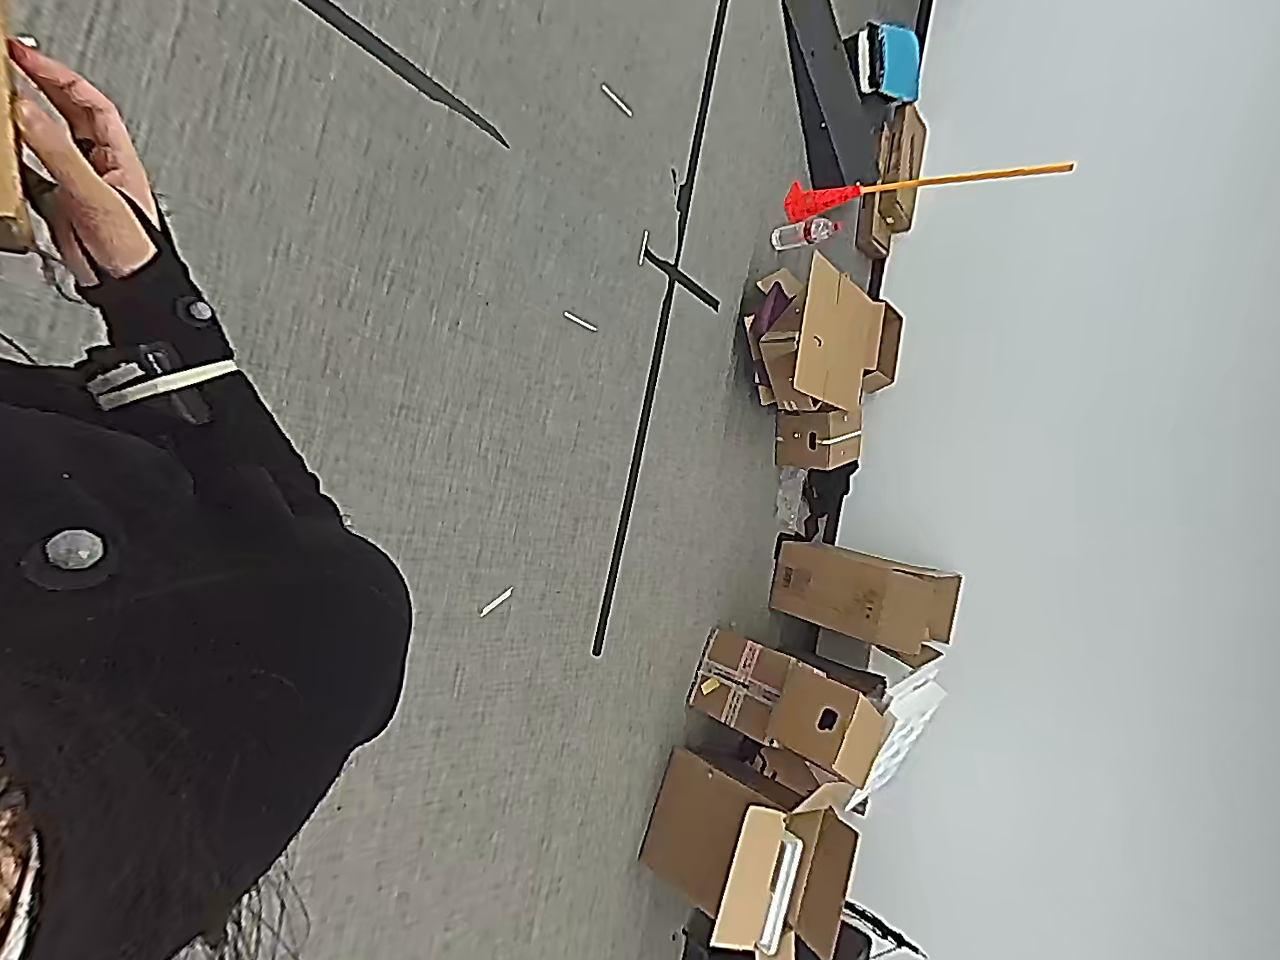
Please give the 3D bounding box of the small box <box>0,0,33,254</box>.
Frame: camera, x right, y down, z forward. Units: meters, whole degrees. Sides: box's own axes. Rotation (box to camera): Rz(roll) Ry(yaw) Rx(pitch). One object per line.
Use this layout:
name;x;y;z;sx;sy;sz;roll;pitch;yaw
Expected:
small box;-0.407;-0.217;0.246;0.168;0.176;0.179;-5;102;-47
